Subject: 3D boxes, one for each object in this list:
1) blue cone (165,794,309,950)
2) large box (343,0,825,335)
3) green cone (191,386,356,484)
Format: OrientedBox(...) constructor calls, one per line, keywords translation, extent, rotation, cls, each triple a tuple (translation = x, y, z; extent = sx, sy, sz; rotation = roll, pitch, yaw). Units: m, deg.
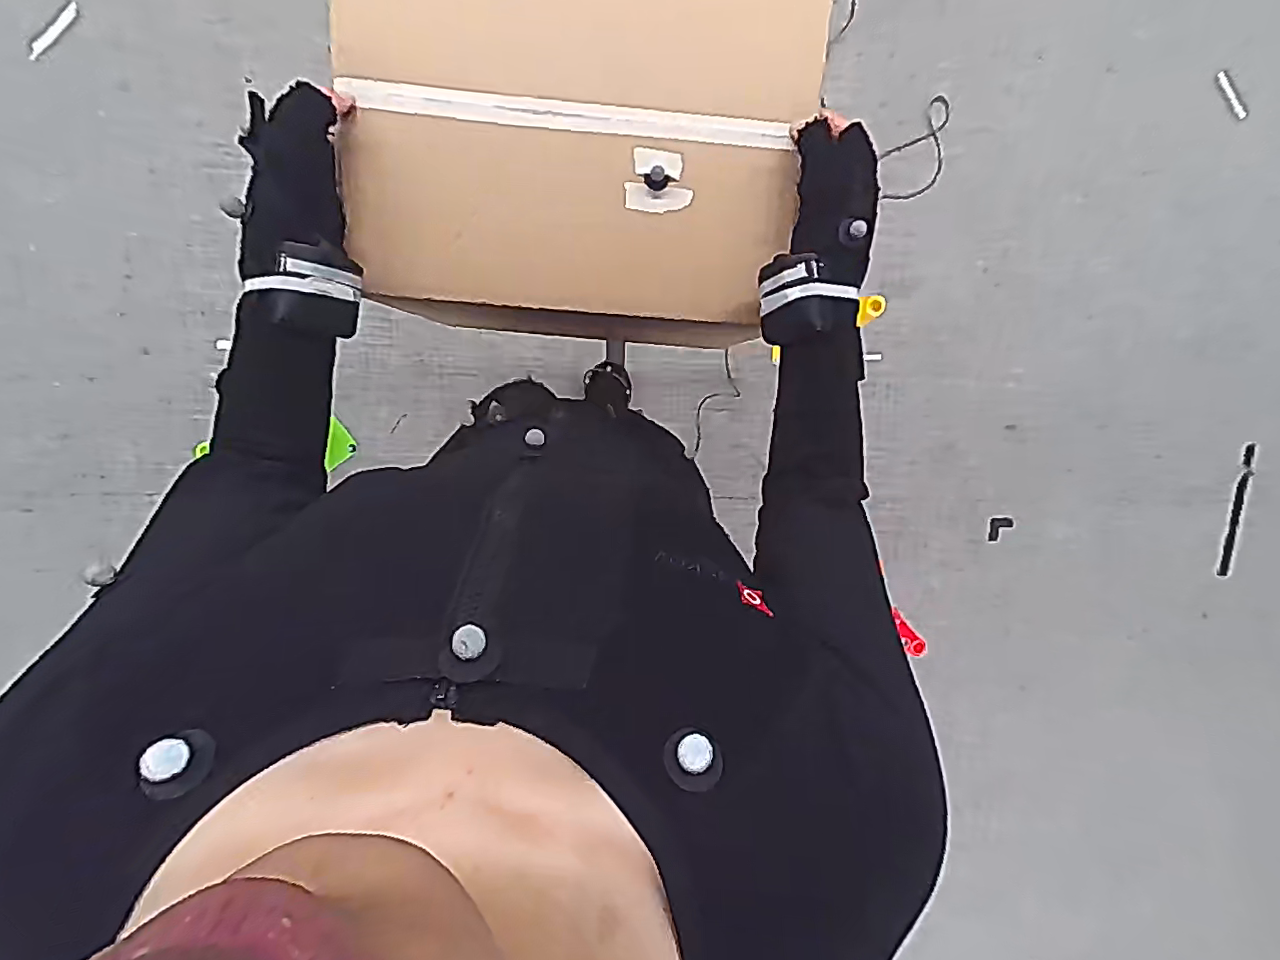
OrientedBox(translation=(-1.044, 1.015, 1.396), extent=(0.192, 0.380, 0.193), rotation=(5, 98, -3), cls="blue cone")
OrientedBox(translation=(-0.057, -0.343, 0.606), extent=(0.408, 0.320, 0.320), rotation=(3, 101, -5), cls="large box")
OrientedBox(translation=(-0.857, -0.088, 1.226), extent=(0.202, 0.368, 0.200), rotation=(-36, 98, 4), cls="green cone")
